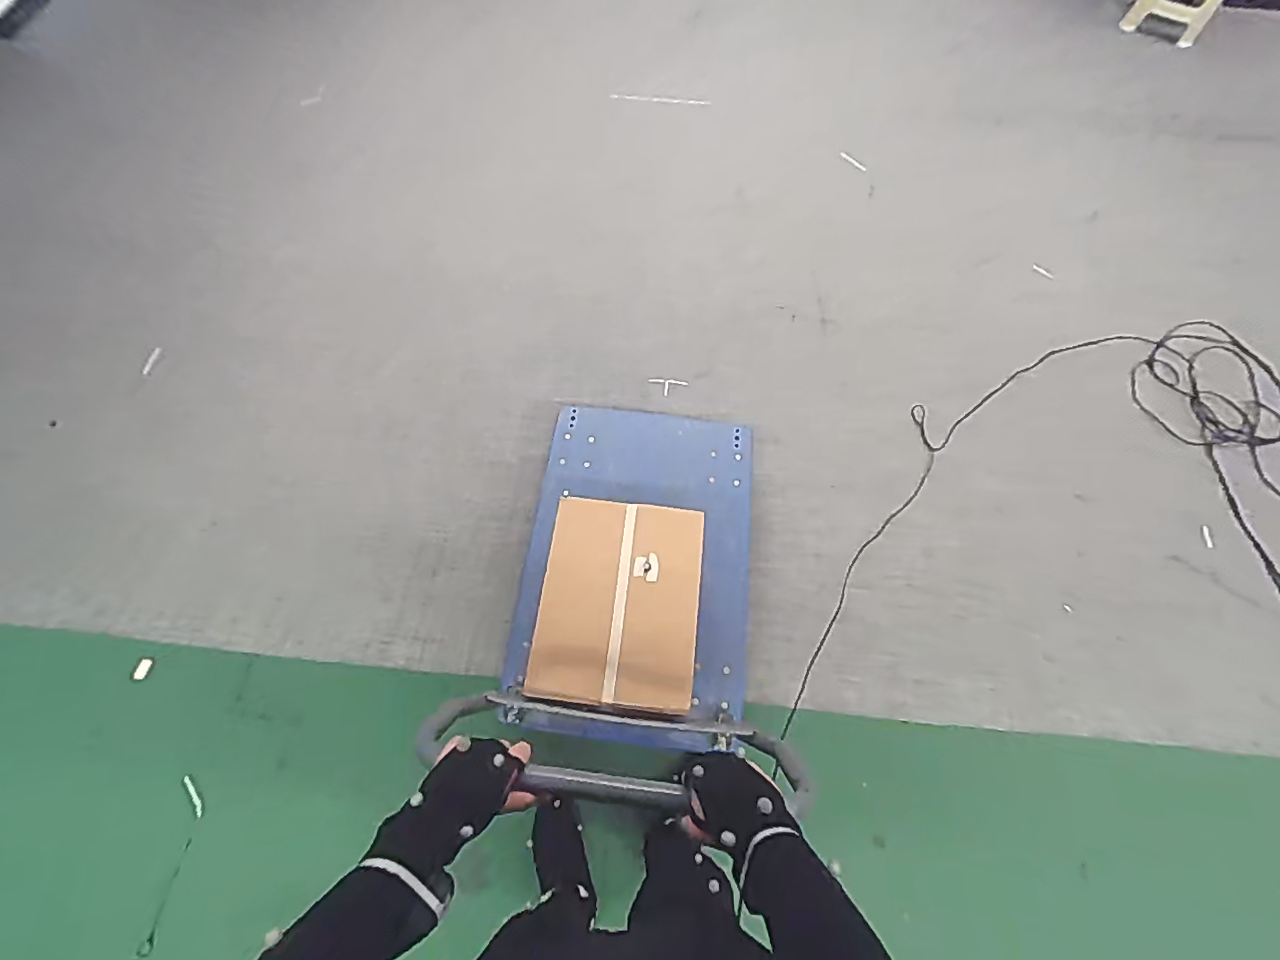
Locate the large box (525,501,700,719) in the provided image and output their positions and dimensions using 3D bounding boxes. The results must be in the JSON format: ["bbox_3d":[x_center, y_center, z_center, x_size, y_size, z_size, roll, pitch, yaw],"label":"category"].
[{"bbox_3d":[-0.048,0.303,1.215,0.320,0.320,0.408,8,65,0],"label":"large box"}]
